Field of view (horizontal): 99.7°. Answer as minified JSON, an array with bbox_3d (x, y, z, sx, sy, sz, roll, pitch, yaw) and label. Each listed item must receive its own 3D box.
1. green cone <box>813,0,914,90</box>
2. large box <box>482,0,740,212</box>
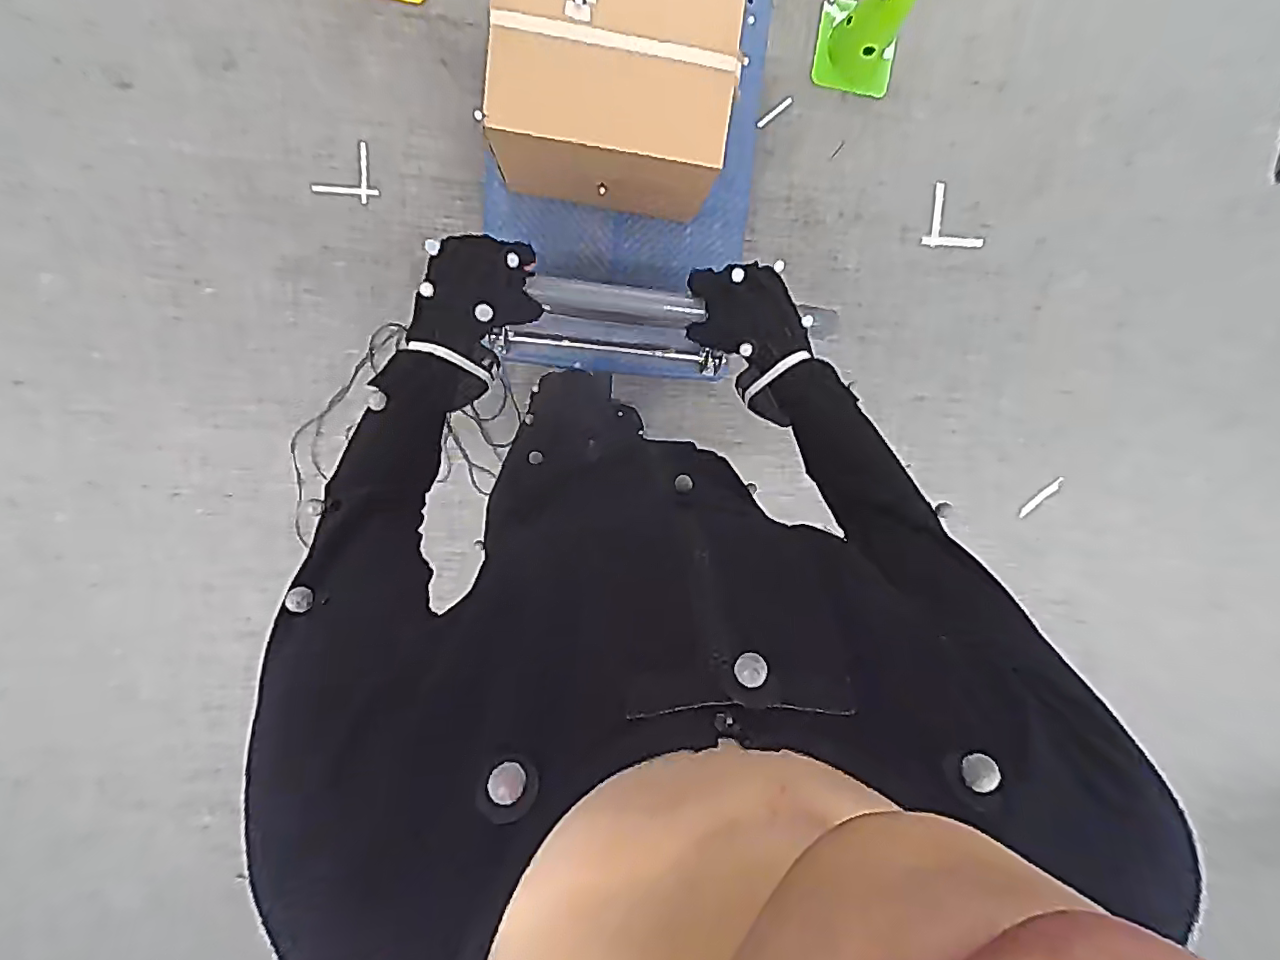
[{"bbox_3d":[0.554,-1.062,1.171,0.202,0.368,0.200,6,99,-8],"label":"green cone"},{"bbox_3d":[-0.054,-0.735,1.021,0.408,0.320,0.320,7,99,-6],"label":"large box"}]
